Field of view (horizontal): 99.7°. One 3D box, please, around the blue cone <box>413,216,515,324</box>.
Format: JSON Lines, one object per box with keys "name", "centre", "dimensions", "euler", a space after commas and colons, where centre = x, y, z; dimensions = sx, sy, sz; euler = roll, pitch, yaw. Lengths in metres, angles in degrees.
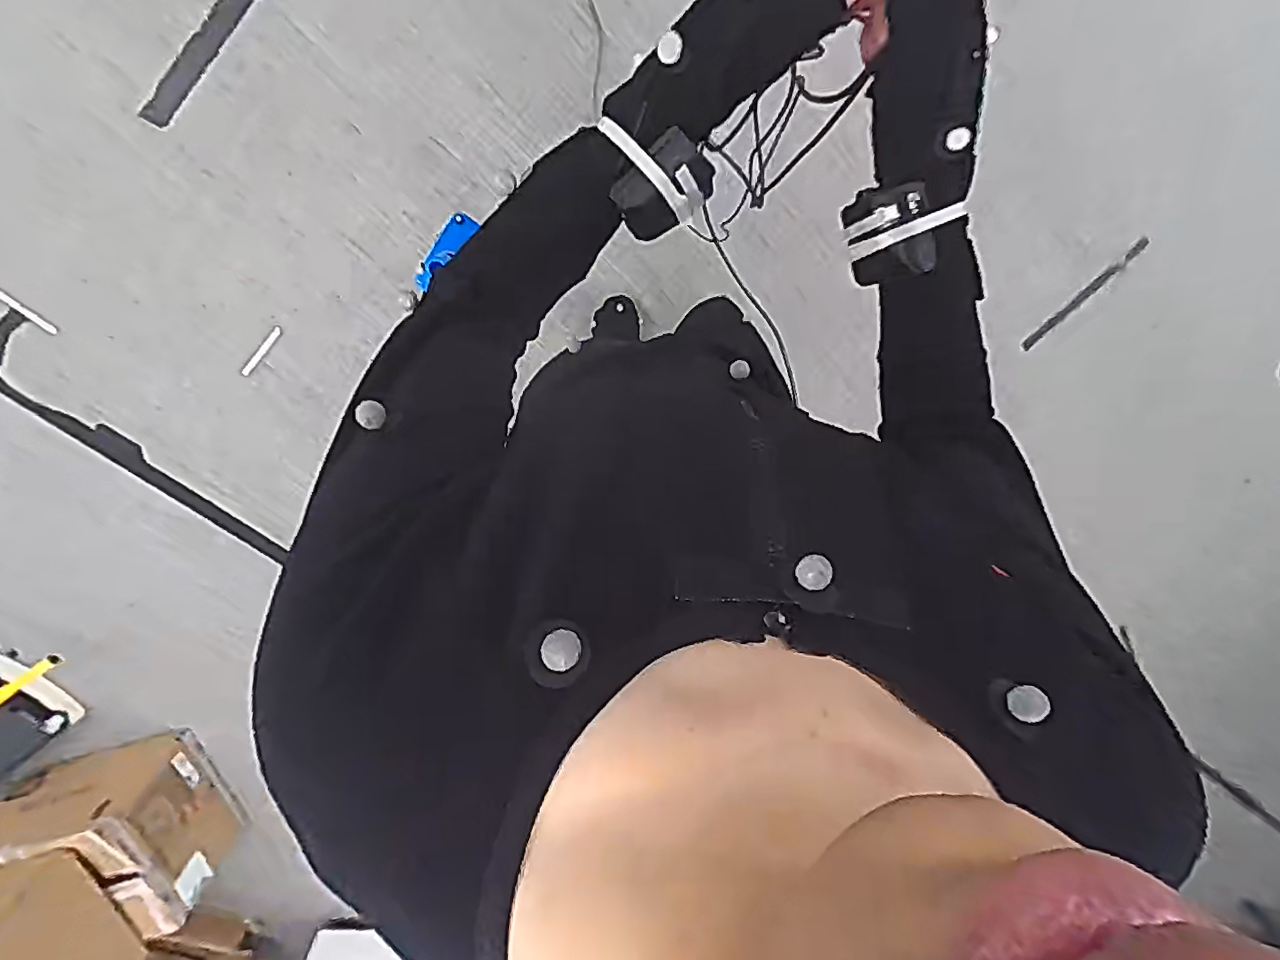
{"name": "blue cone", "centre": [-0.394, -0.440, 1.131], "dimensions": [0.192, 0.380, 0.193], "euler": [36, 102, -16]}
